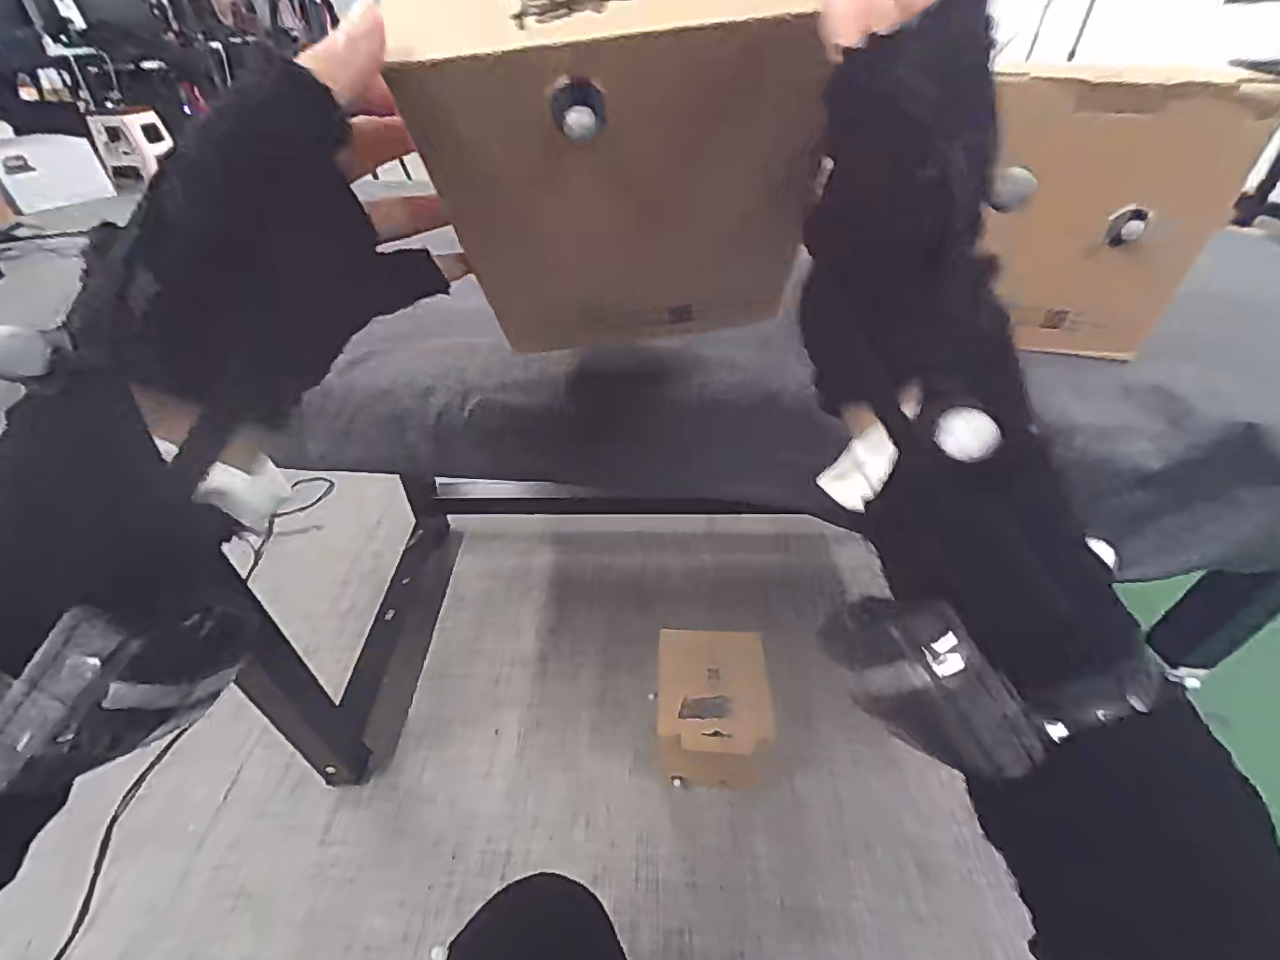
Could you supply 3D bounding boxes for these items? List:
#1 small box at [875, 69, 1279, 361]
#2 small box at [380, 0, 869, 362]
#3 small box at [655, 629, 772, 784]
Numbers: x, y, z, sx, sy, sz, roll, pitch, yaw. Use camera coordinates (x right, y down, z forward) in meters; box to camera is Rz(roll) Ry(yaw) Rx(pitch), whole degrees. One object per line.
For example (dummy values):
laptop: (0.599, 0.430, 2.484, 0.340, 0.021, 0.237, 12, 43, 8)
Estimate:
small box: (0.291, -0.209, 0.419, 0.168, 0.176, 0.179, 12, 40, 13)
small box: (-0.008, -0.187, 0.283, 0.168, 0.176, 0.179, -6, 69, 2)
small box: (0.110, 0.363, 0.867, 0.168, 0.176, 0.179, 1, 39, 2)
